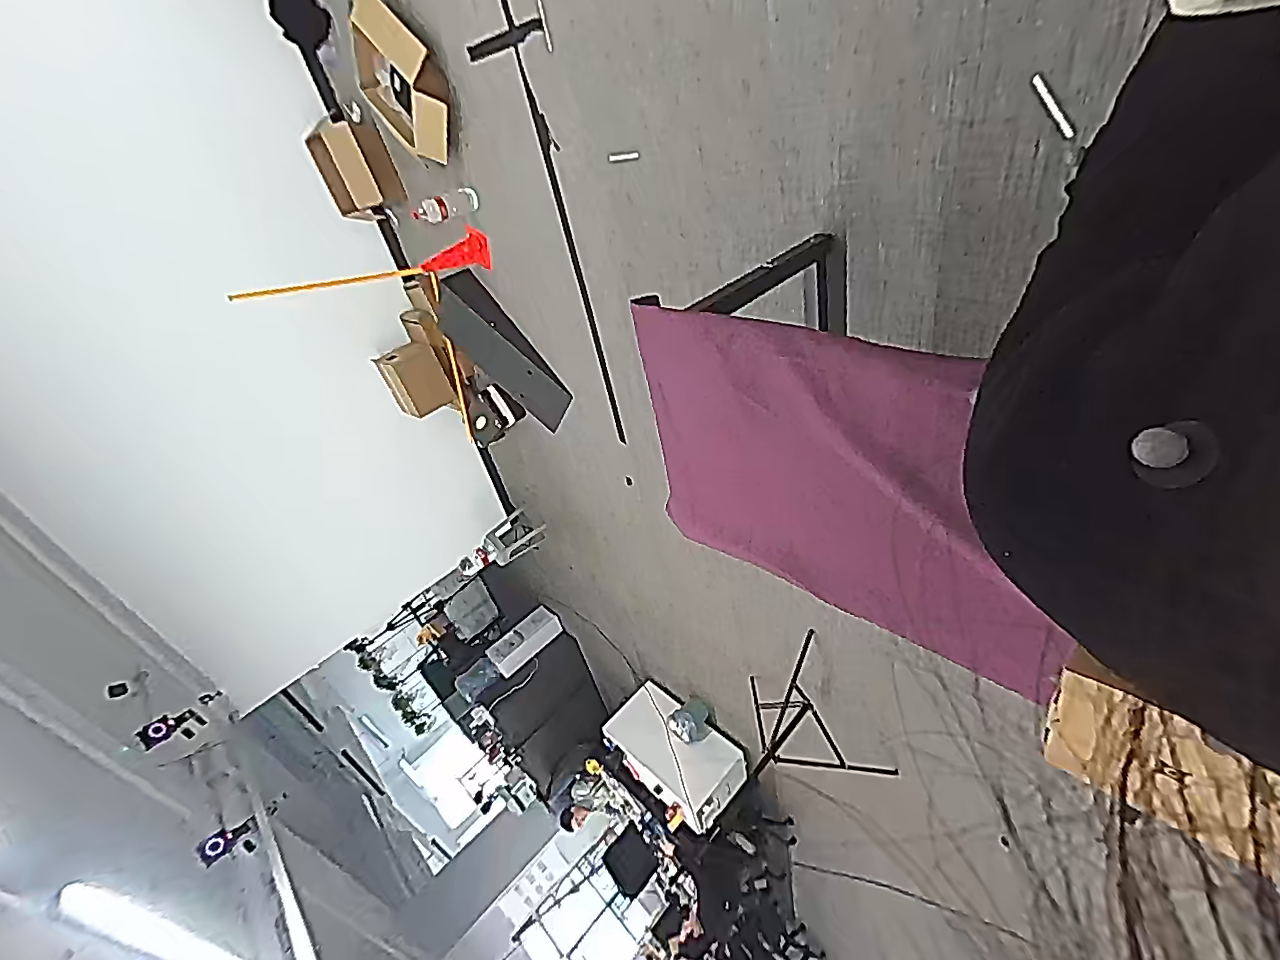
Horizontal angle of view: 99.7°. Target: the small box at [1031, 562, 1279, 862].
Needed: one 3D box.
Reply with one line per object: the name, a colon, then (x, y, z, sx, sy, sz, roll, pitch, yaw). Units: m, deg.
small box: (0.521, 0.206, 0.527, 0.179, 0.176, 0.168, 19, 139, 43)
